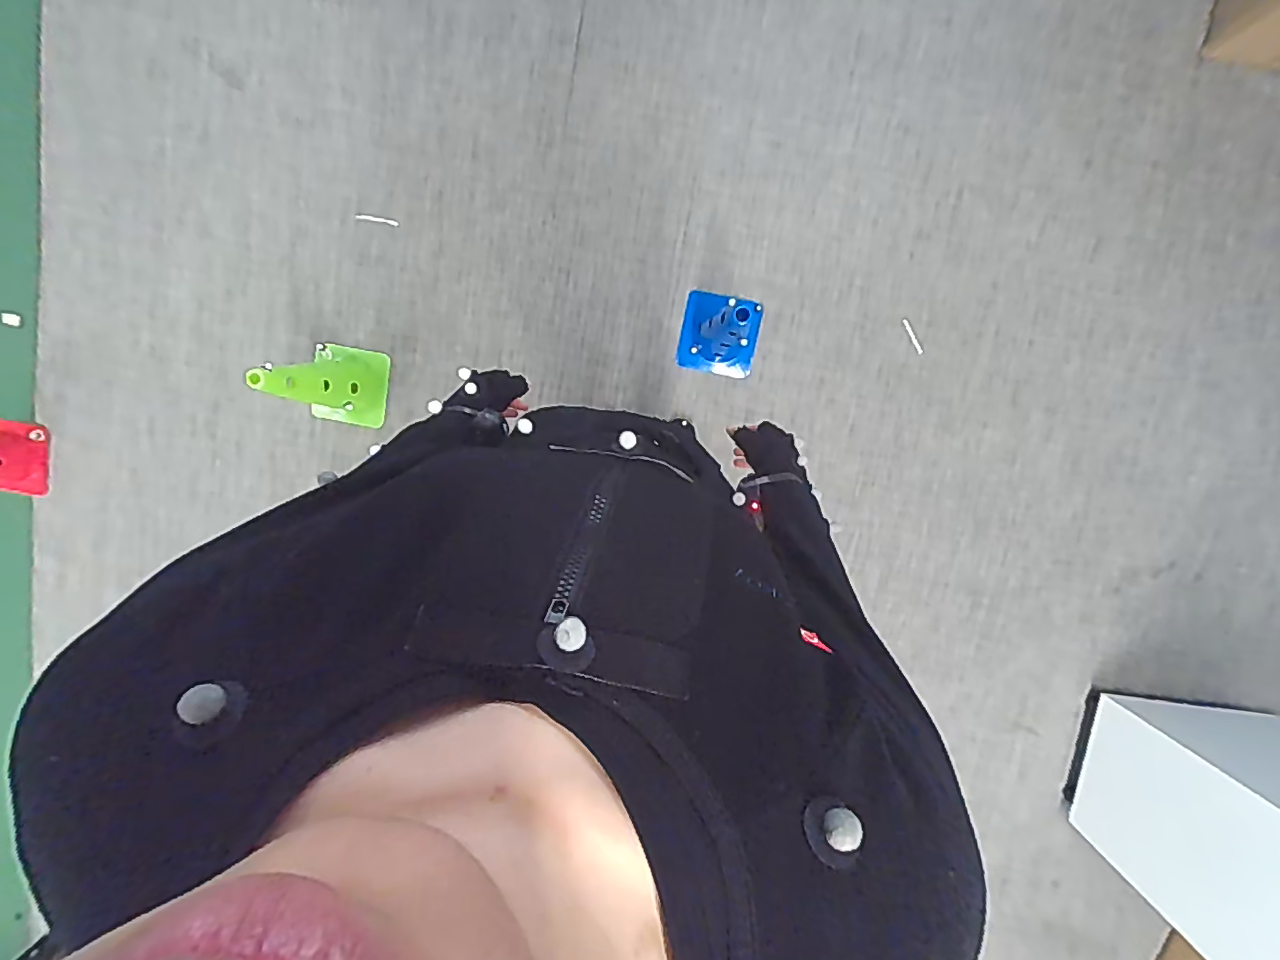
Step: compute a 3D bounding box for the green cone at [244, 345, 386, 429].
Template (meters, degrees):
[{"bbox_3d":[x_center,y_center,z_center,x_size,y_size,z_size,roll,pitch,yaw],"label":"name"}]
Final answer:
[{"bbox_3d":[-0.782,-0.221,1.265,0.202,0.368,0.200,9,98,-1],"label":"green cone"}]
